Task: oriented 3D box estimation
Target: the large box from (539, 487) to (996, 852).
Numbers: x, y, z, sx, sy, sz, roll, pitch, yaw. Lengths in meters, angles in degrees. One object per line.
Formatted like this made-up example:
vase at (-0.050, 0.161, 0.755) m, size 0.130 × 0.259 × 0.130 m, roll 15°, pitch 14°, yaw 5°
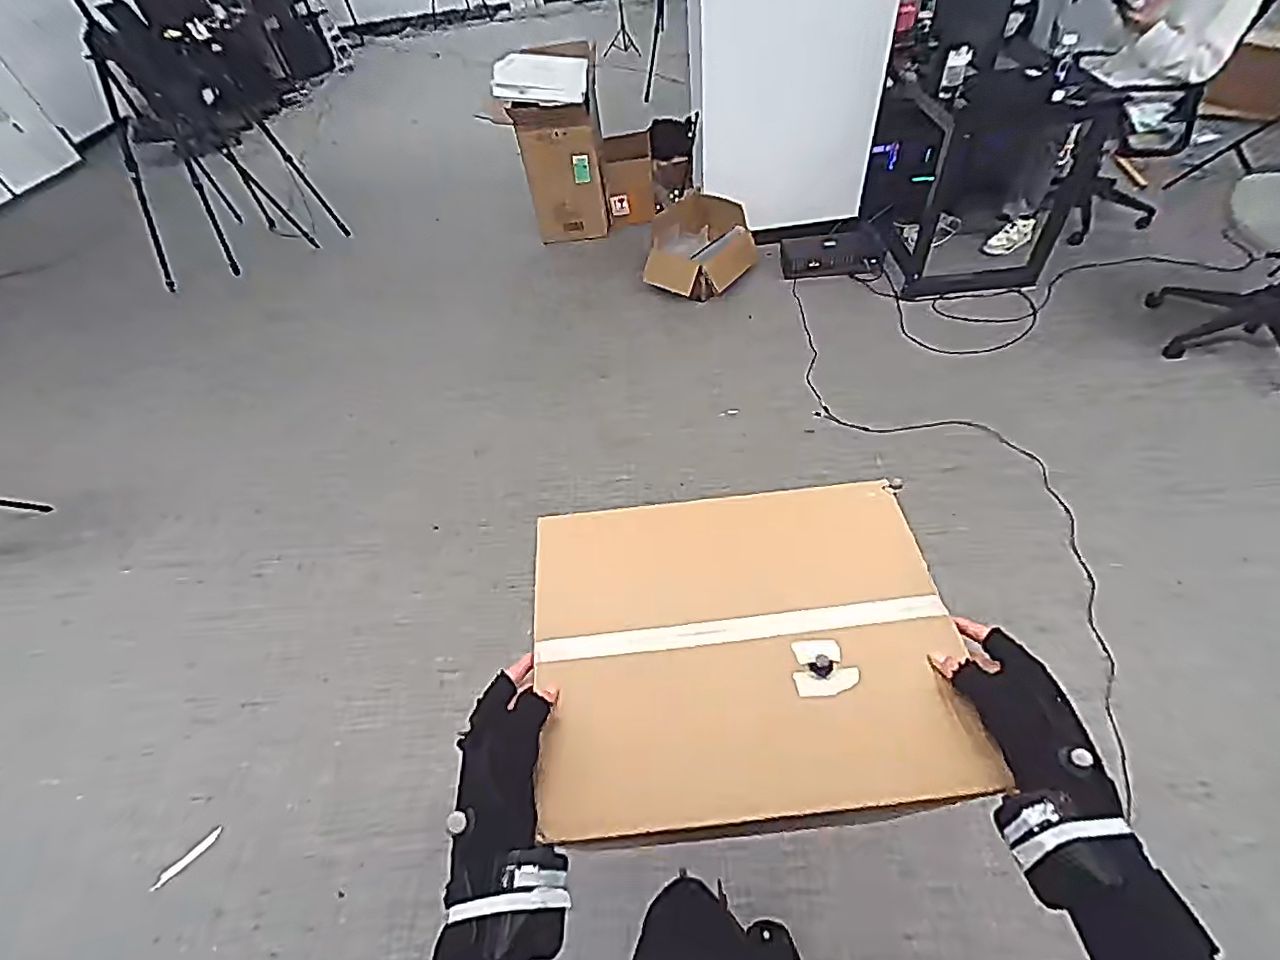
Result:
large box at (0.103, 0.241, 0.665) m, size 0.408 × 0.320 × 0.320 m, roll -6°, pitch 54°, yaw 0°
